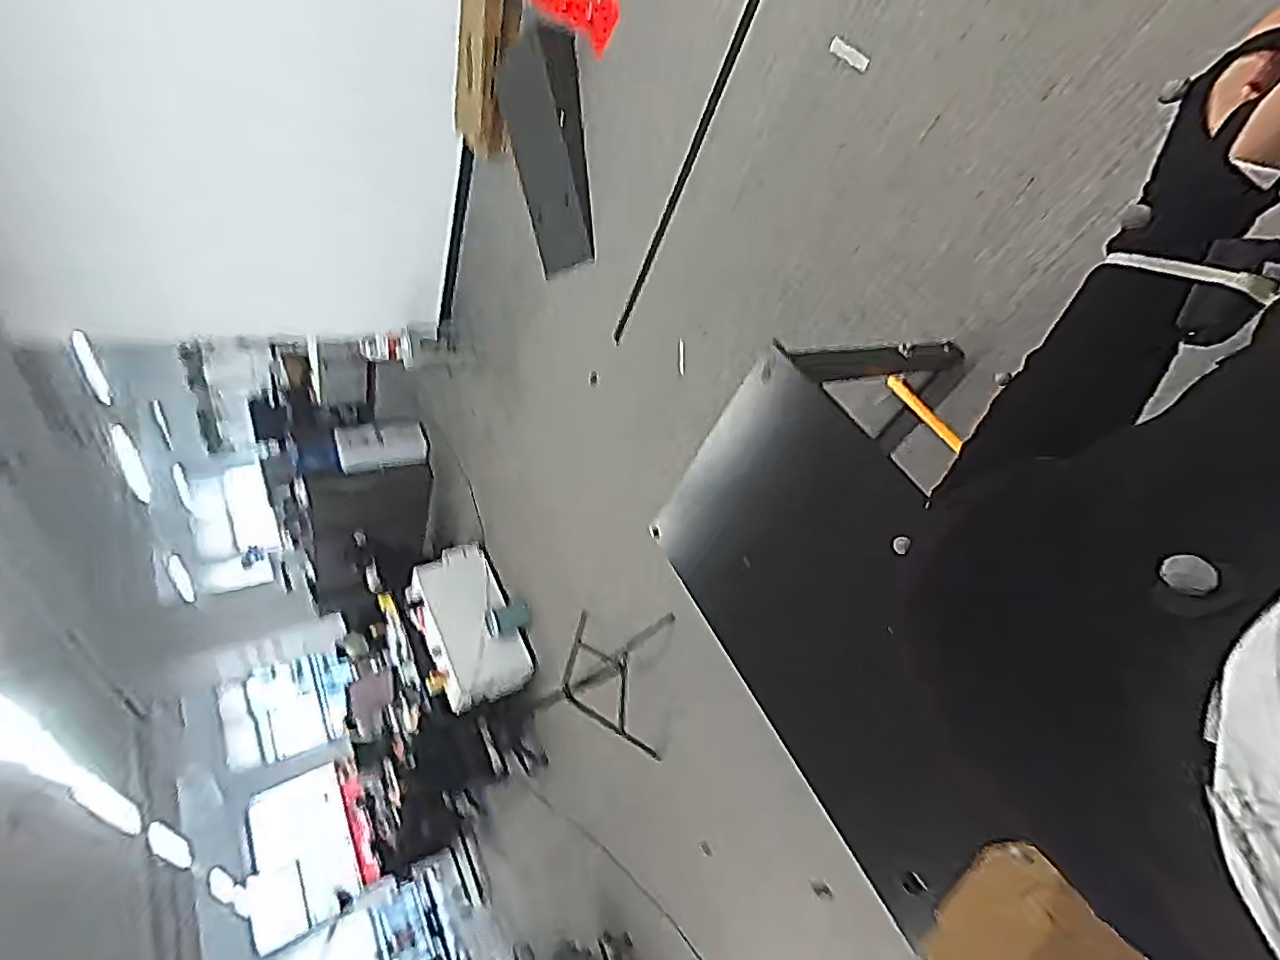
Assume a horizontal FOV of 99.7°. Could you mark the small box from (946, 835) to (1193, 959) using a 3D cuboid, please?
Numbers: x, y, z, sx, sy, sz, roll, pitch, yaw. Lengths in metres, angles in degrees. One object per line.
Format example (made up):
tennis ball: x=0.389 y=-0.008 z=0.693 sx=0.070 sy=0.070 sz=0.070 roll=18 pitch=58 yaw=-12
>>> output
small box: x=0.543 y=0.590 z=0.677 sx=0.179 sy=0.176 sz=0.168 roll=59 pitch=140 yaw=26

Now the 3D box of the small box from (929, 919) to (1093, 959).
small box: x=0.415 y=0.619 z=0.581 sx=0.168 sy=0.176 sz=0.179 roll=56 pitch=138 yaw=26
